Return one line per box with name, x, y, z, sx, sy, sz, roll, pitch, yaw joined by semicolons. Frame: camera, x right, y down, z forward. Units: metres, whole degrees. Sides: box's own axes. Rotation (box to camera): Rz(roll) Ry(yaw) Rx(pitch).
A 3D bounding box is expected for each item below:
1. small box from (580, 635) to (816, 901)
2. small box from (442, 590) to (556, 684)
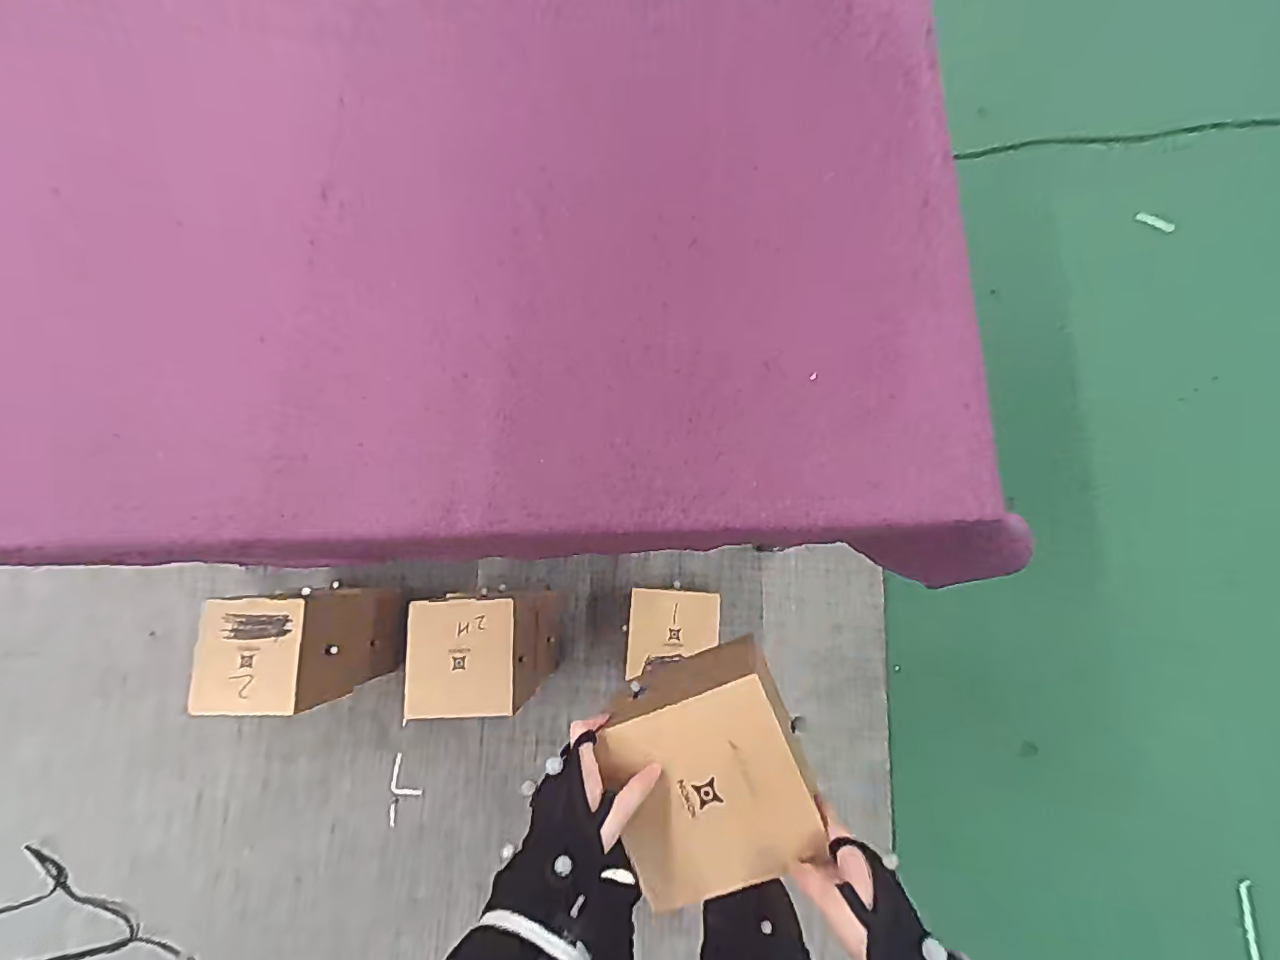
small box;0.064;0.285;0.571;0.179;0.176;0.168;-24;84;9
small box;-0.272;0.306;1.076;0.179;0.176;0.168;0;80;1
